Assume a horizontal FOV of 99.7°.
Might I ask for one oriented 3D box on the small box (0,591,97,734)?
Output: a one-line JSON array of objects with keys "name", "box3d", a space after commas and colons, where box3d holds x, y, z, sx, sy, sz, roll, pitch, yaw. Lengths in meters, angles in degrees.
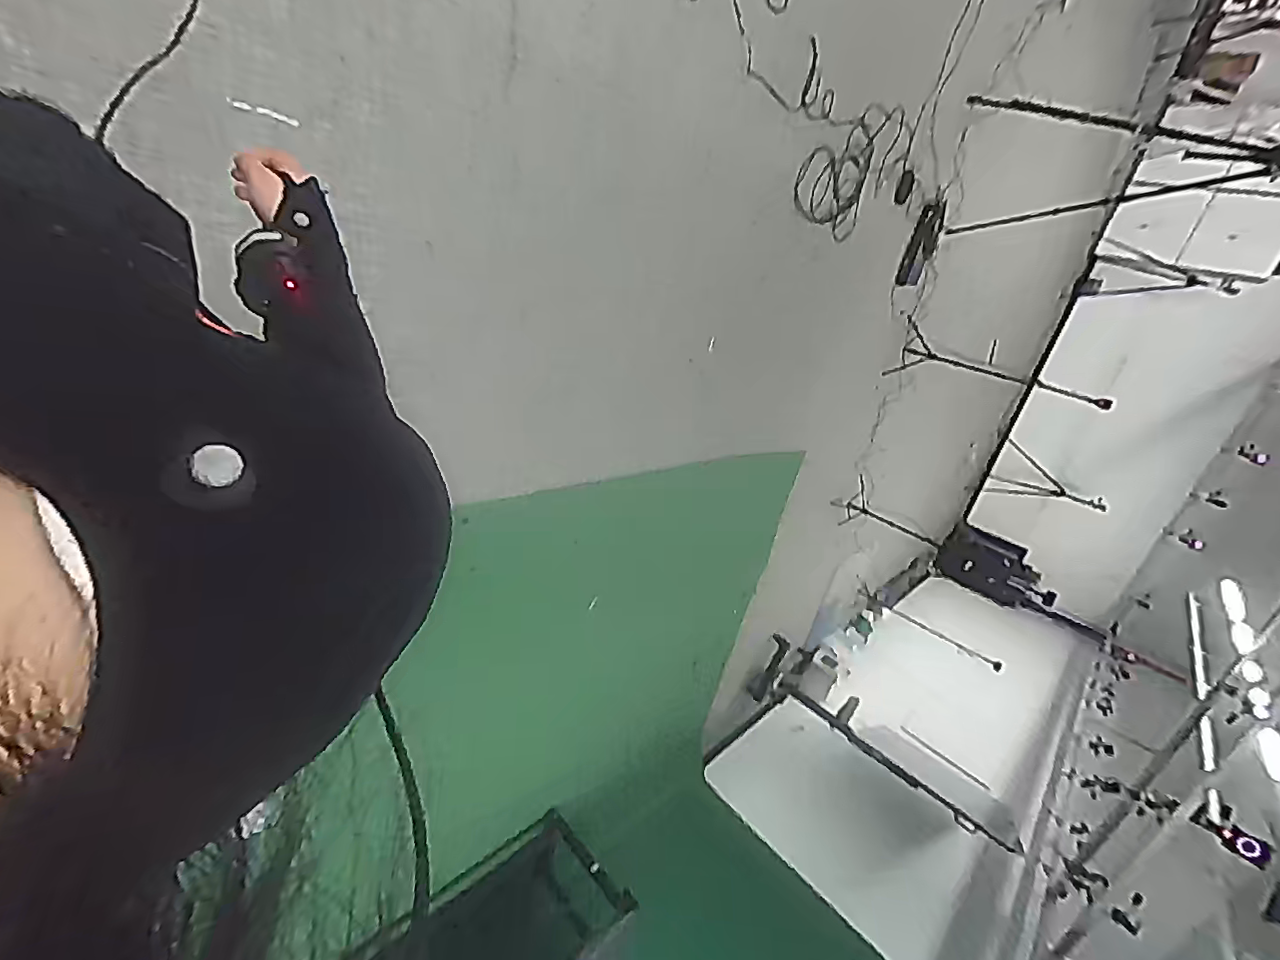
[{"name": "small box", "box3d": [-1.106, 0.321, 0.957, 0.179, 0.176, 0.168, -10, 120, -46]}]
